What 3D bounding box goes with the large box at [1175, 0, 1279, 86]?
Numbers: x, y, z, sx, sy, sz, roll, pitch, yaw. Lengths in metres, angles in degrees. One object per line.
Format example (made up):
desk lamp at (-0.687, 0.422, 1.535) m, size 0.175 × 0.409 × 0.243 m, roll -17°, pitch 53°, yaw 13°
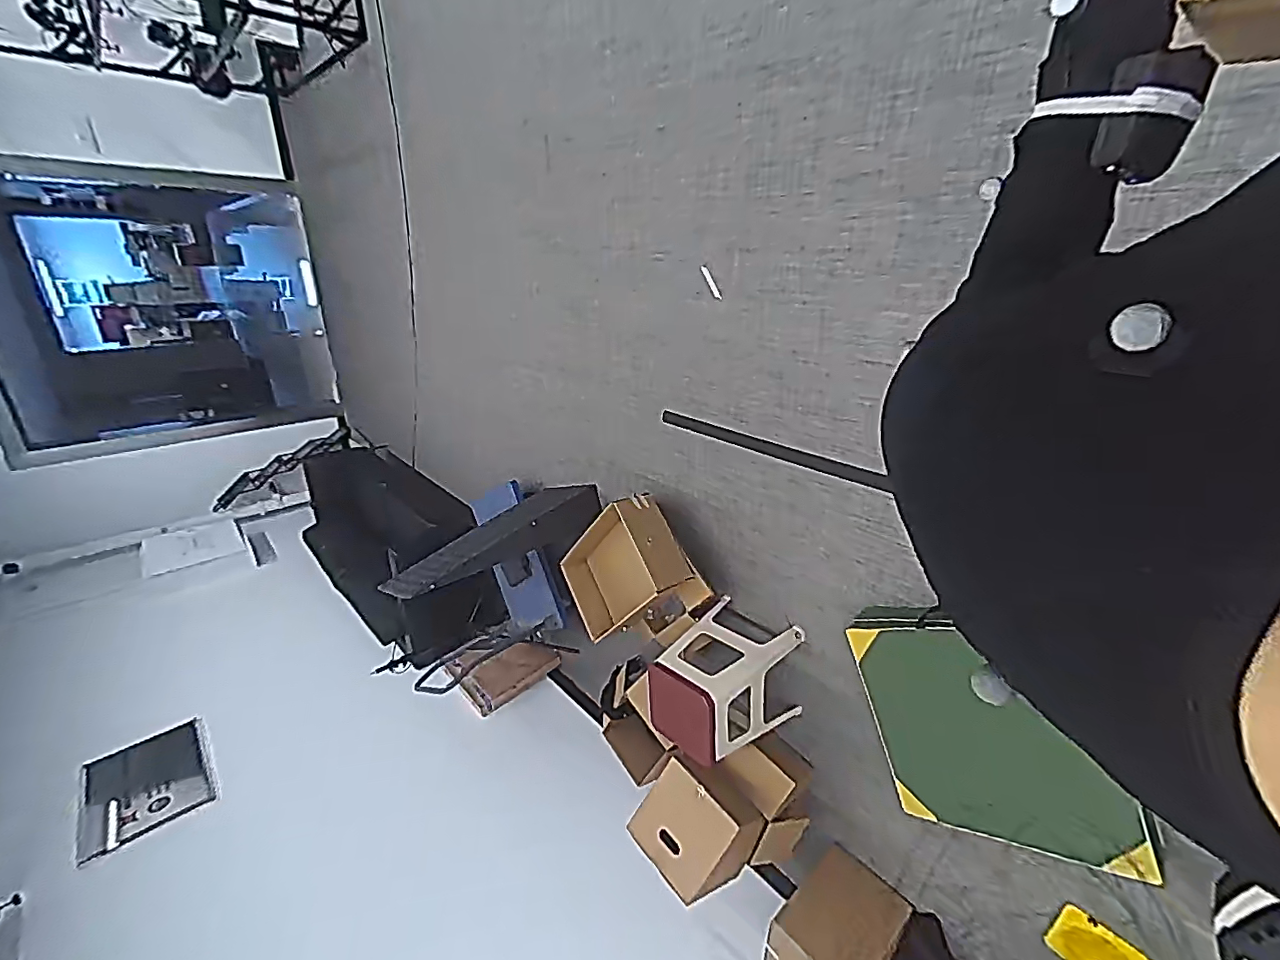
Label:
large box at (0.565, -0.401, 0.233) m, size 0.408 × 0.320 × 0.320 m, roll 24°, pitch 128°, yaw 38°
